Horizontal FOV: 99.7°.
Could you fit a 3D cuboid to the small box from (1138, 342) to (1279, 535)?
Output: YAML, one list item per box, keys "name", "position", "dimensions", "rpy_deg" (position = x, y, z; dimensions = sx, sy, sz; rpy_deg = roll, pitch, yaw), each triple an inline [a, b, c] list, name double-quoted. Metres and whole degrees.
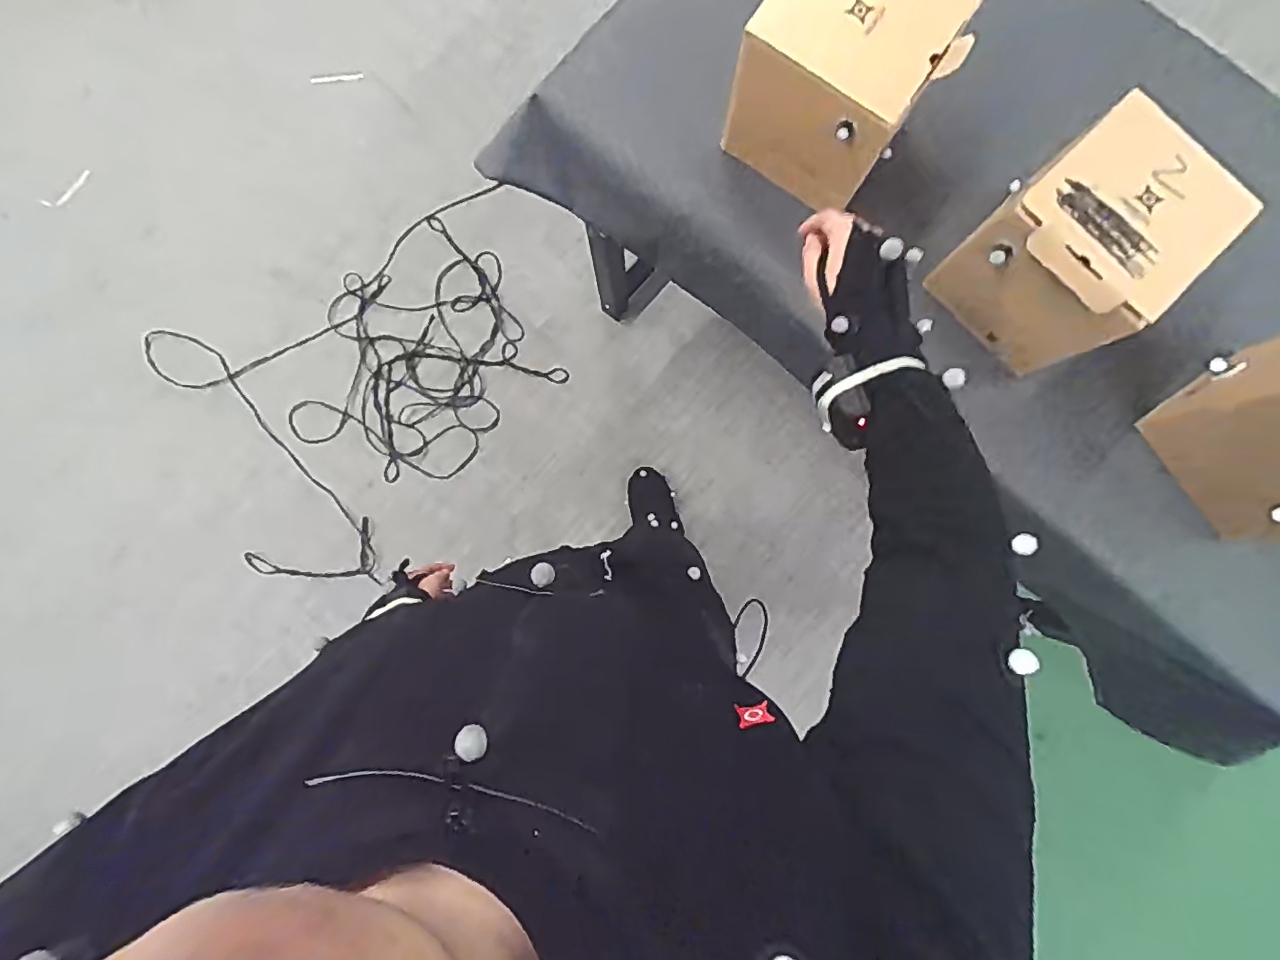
- name: "small box"
  position: [0.716, -0.050, 0.580]
  dimensions: [0.168, 0.176, 0.179]
  rpy_deg: [-34, 86, -3]

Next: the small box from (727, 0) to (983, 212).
- name: "small box"
  position: [0.219, -0.443, 0.604]
  dimensions: [0.179, 0.176, 0.168]
  rpy_deg: [34, 86, 1]
